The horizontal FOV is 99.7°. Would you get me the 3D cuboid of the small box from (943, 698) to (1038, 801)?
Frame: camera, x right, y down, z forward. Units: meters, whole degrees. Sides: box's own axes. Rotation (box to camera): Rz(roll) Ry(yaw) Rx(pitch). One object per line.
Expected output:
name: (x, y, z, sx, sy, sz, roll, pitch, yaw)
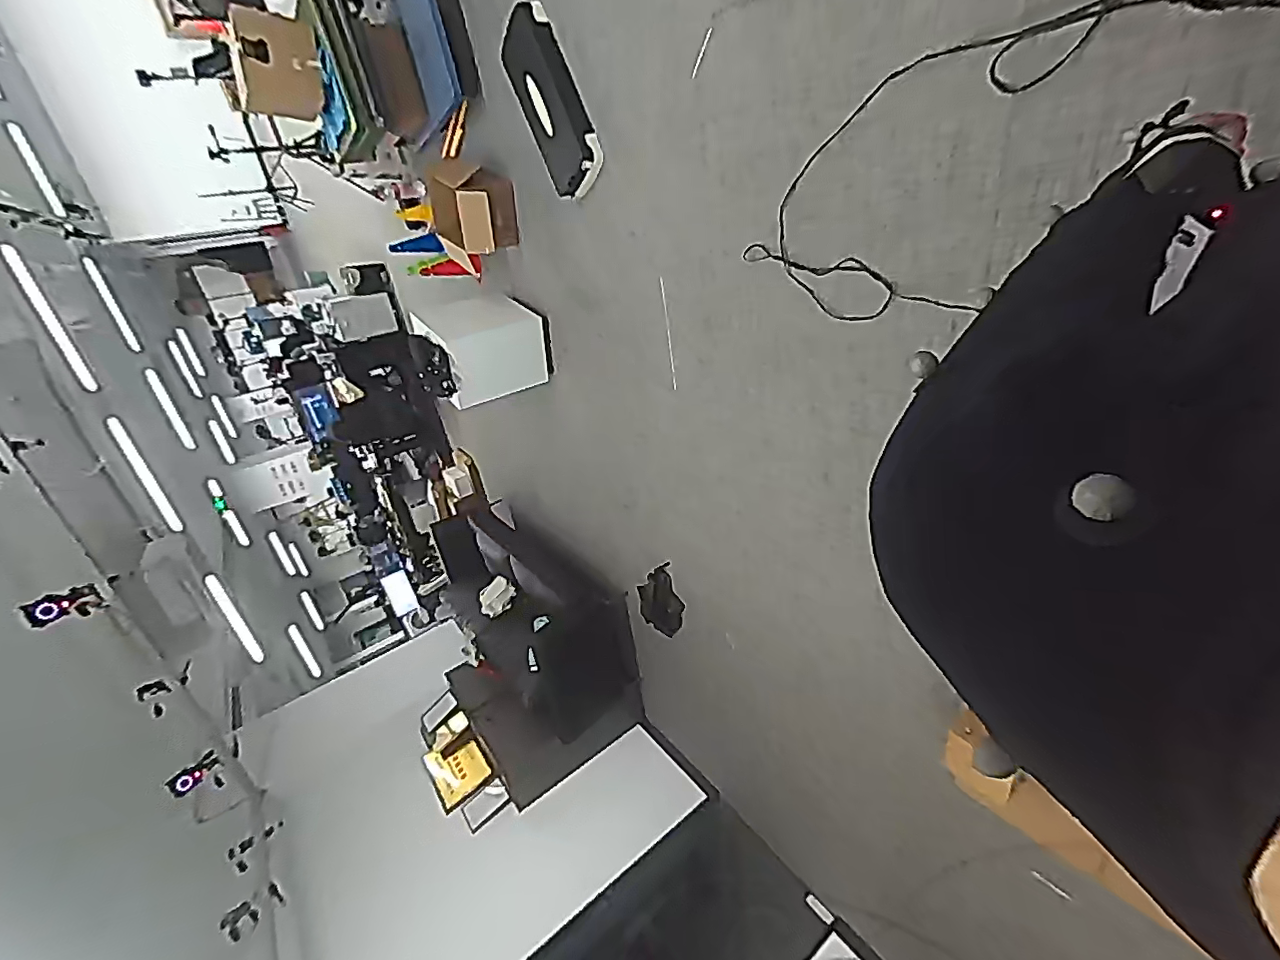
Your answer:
small box: (1.029, 0.781, 1.589, 0.179, 0.176, 0.168, 26, 133, 50)
